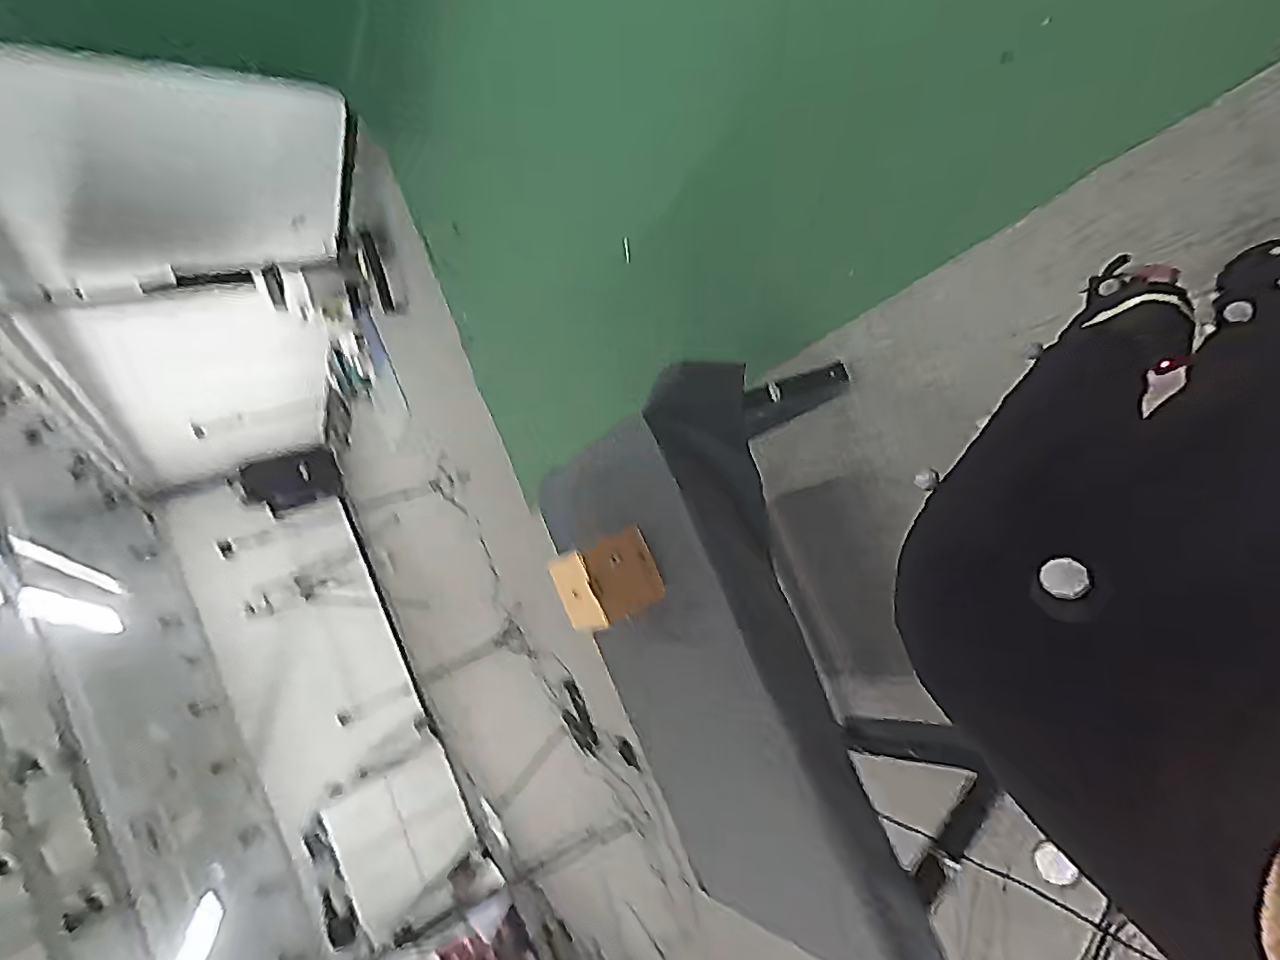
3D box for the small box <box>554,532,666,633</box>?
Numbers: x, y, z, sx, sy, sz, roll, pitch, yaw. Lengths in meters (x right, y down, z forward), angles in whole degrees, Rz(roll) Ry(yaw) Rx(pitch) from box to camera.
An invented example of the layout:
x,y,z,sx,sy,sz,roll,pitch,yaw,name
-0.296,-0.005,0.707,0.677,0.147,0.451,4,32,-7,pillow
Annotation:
x,y,z,sx,sy,sz,roll,pitch,yaw,name
-0.063,0.230,1.221,0.179,0.176,0.168,-32,80,56,small box
